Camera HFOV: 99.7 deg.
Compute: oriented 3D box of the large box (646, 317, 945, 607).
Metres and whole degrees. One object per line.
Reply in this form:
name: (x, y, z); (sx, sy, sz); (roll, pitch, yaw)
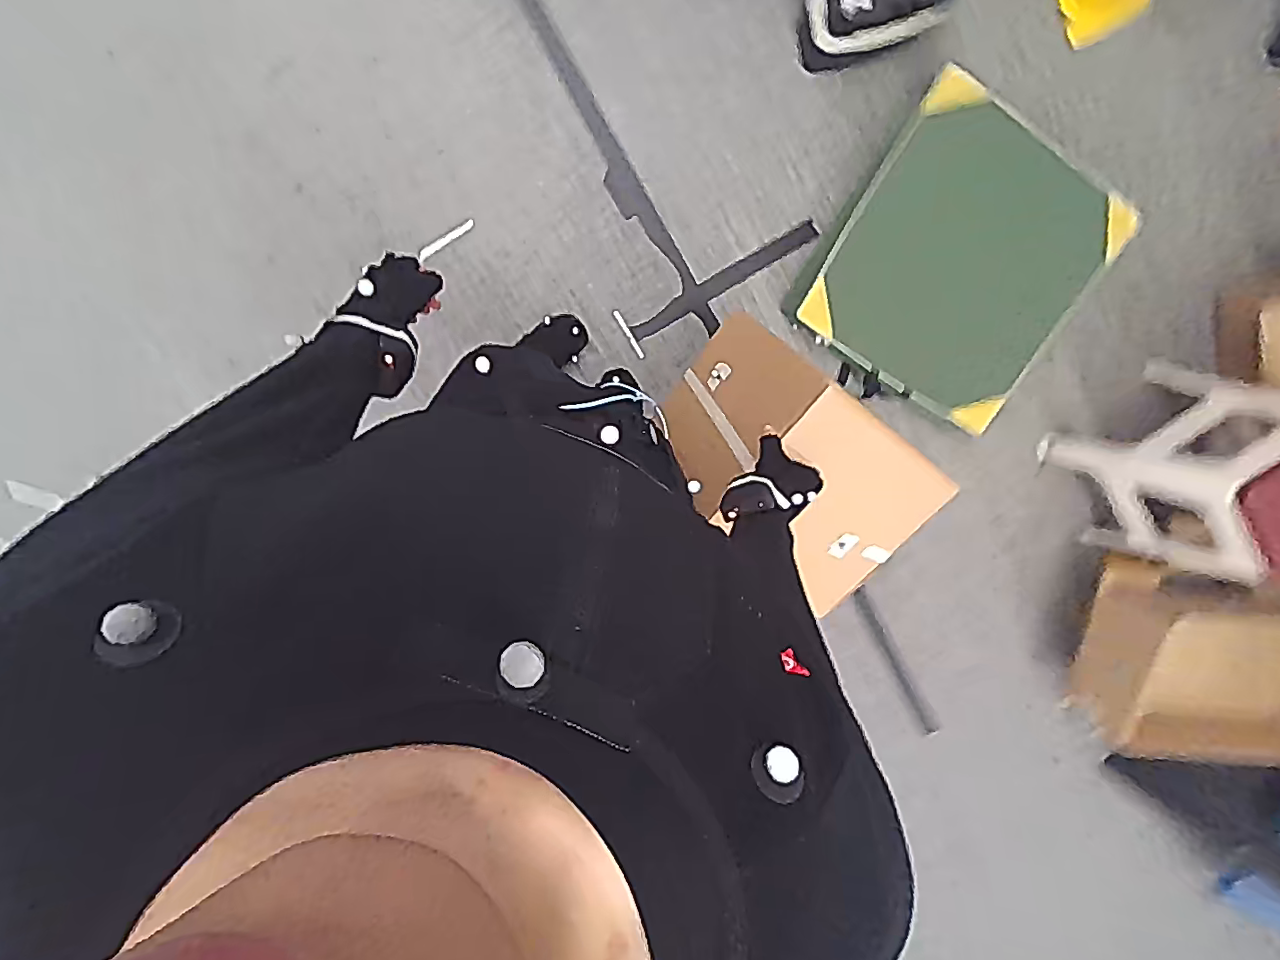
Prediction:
large box: (0.249, -0.046, 1.001); (0.320, 0.408, 0.320); (29, 112, -24)
